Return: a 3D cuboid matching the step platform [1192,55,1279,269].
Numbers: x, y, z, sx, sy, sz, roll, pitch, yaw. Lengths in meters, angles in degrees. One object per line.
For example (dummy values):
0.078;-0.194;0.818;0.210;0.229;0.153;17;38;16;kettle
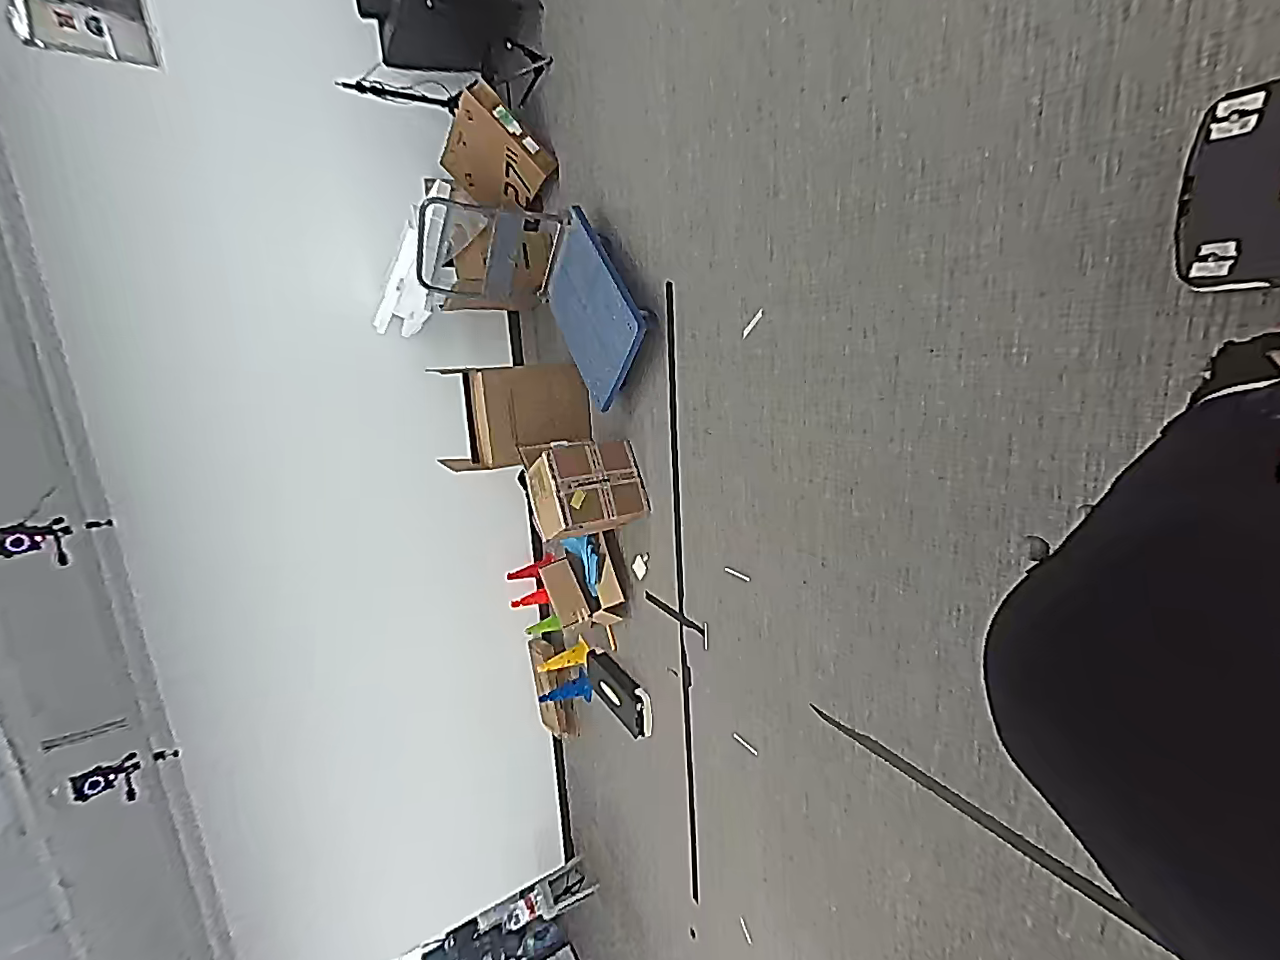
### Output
1.115;-0.439;0.611;0.684;0.204;0.286;18;114;58;step platform
